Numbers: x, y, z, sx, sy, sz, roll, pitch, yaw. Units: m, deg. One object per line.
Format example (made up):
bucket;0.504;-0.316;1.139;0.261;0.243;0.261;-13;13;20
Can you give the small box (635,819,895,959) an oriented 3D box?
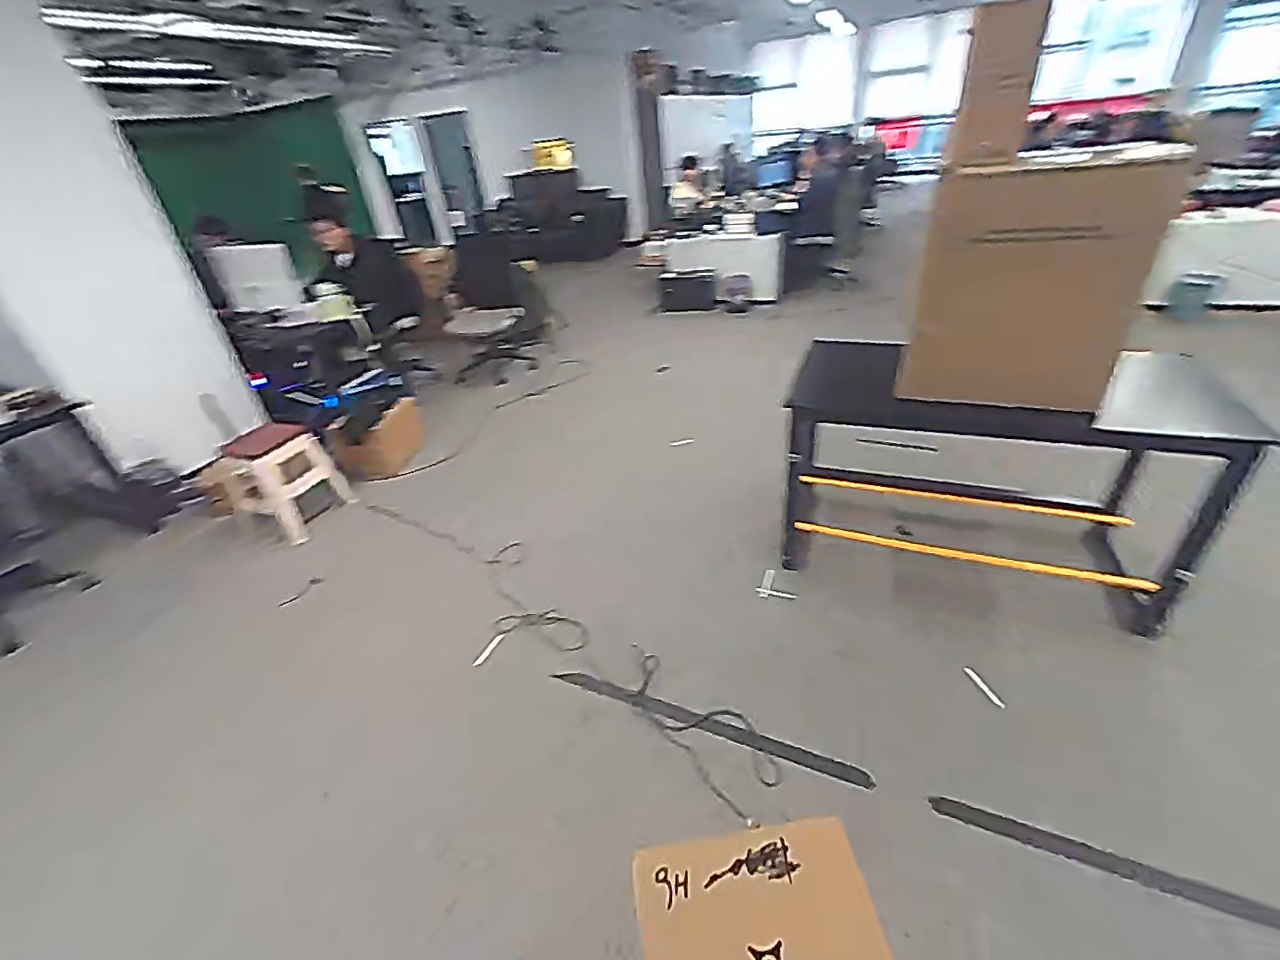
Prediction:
small box;0.090;0.383;0.398;0.168;0.176;0.179;-6;42;-4

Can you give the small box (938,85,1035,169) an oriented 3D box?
small box;0.900;-0.927;1.424;0.168;0.176;0.179;5;37;18

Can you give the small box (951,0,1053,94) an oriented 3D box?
small box;0.880;-1.063;1.331;0.168;0.176;0.179;6;36;20
